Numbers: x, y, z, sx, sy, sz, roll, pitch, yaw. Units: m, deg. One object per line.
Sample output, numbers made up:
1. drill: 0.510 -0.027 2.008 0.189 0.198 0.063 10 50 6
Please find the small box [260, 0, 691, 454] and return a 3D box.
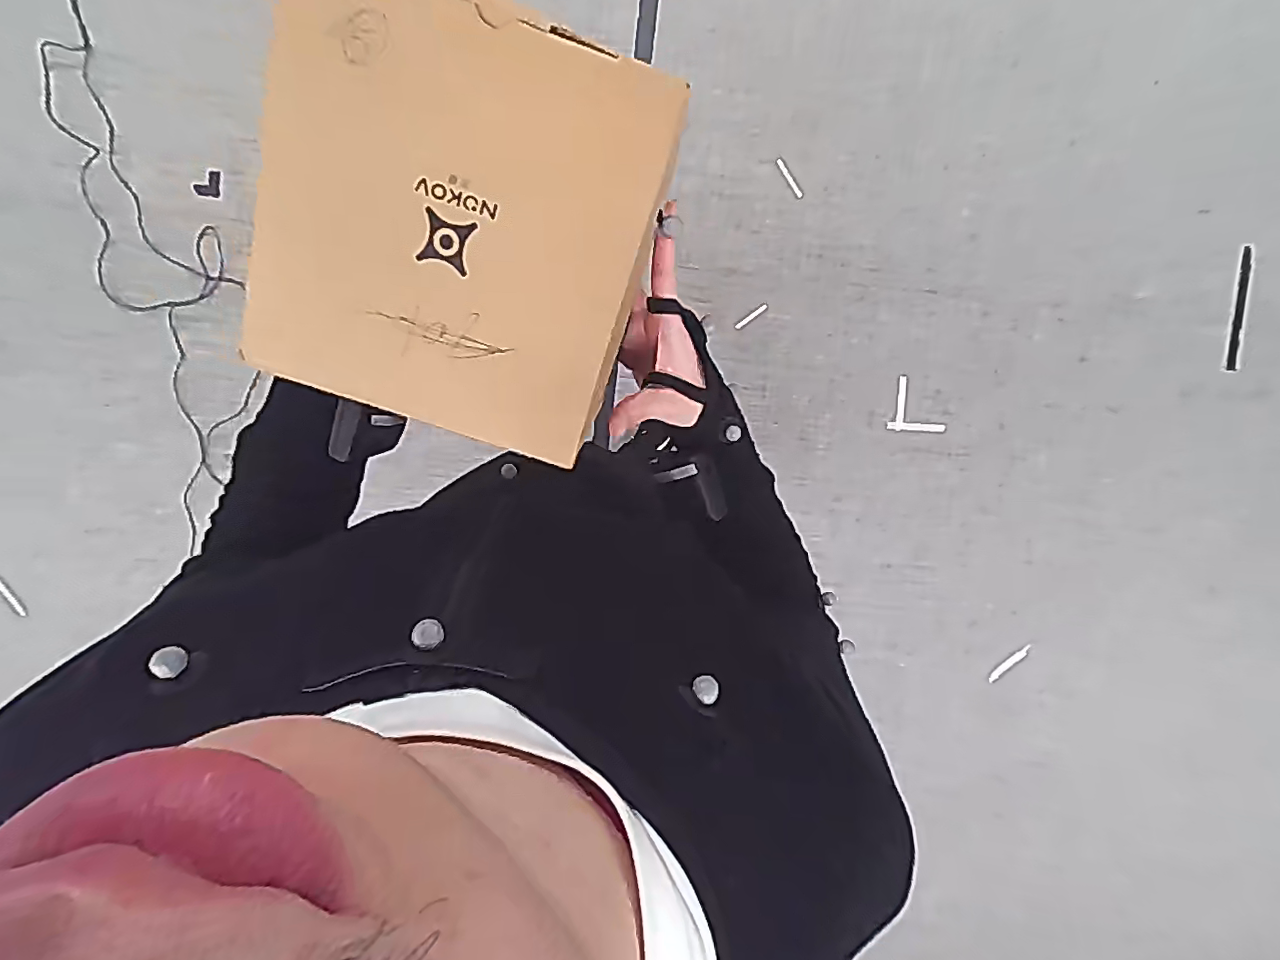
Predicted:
1. small box: -0.082 -0.140 0.326 0.168 0.176 0.179 18 107 -5
